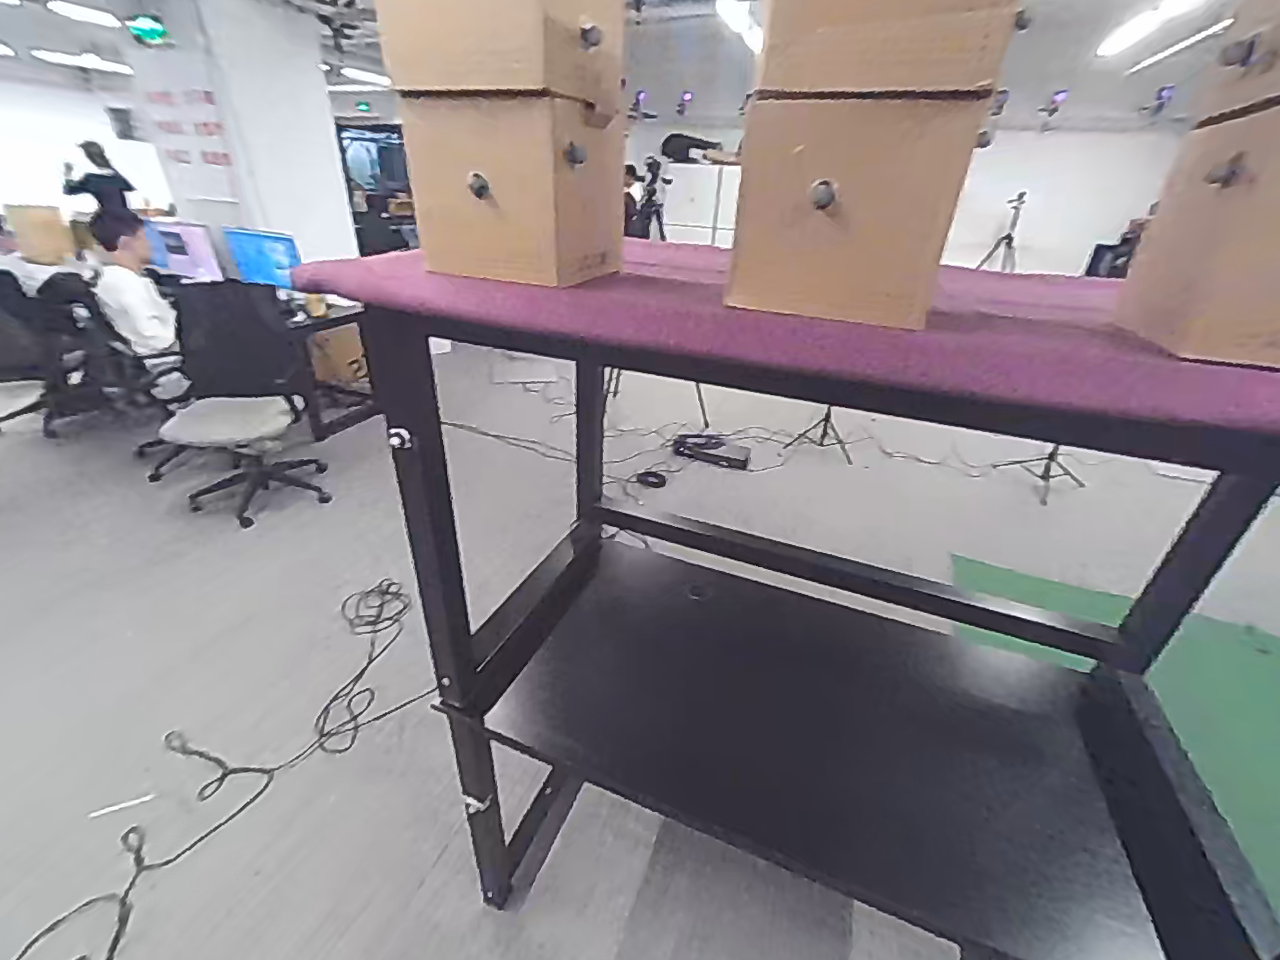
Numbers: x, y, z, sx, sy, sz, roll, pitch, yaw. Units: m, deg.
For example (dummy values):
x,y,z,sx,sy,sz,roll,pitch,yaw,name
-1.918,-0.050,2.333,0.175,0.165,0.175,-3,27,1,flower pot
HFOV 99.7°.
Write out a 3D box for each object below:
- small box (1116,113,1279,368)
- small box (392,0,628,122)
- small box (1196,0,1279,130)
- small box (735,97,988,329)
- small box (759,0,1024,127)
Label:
x,y,z,sx,sy,sz,roll,pitch,yaw,name
0.515,-0.177,0.409,0.168,0.176,0.179,13,29,20,small box
-0.122,-0.458,0.522,0.179,0.176,0.168,14,31,18,small box
0.512,-0.317,0.326,0.179,0.176,0.168,11,27,20,small box
0.197,-0.246,0.512,0.179,0.176,0.168,14,31,20,small box
0.206,-0.387,0.429,0.179,0.176,0.168,17,31,22,small box
